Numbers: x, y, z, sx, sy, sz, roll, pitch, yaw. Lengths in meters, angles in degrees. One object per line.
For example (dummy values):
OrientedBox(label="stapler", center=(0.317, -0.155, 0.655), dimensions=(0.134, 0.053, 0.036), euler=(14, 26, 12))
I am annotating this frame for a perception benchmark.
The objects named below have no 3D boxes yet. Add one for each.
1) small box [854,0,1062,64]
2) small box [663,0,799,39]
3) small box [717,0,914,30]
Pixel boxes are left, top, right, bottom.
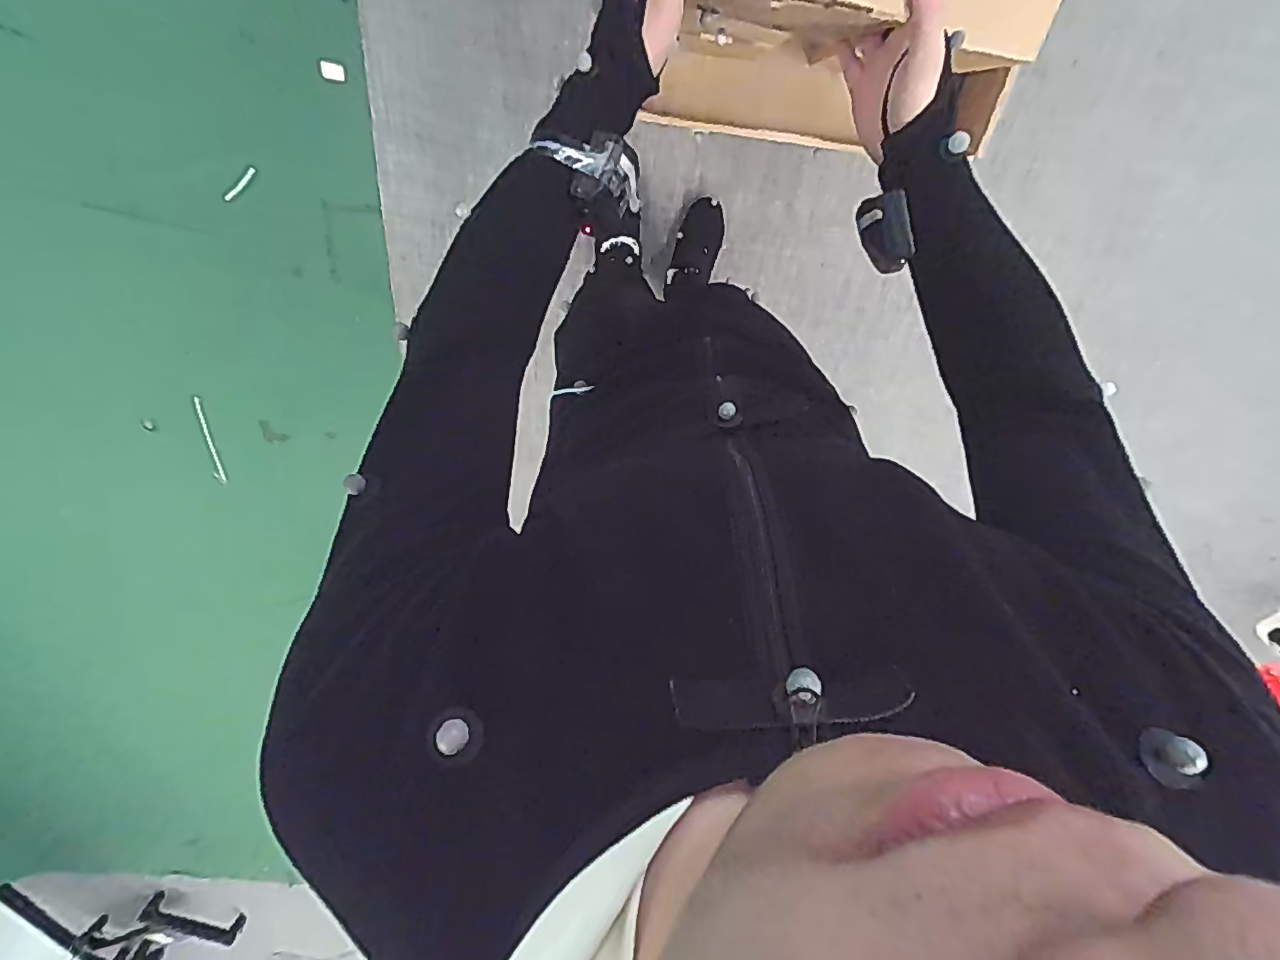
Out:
OrientedBox(label="small box", center=(0.378, -0.603, 0.629), dimensions=(0.179, 0.176, 0.168), euler=(7, 124, -6))
OrientedBox(label="small box", center=(0.119, -0.628, 0.605), dimensions=(0.168, 0.176, 0.179), euler=(6, 123, -4))
OrientedBox(label="small box", center=(0.131, -0.472, 0.408), dimensions=(0.168, 0.176, 0.179), euler=(6, 123, -11))
